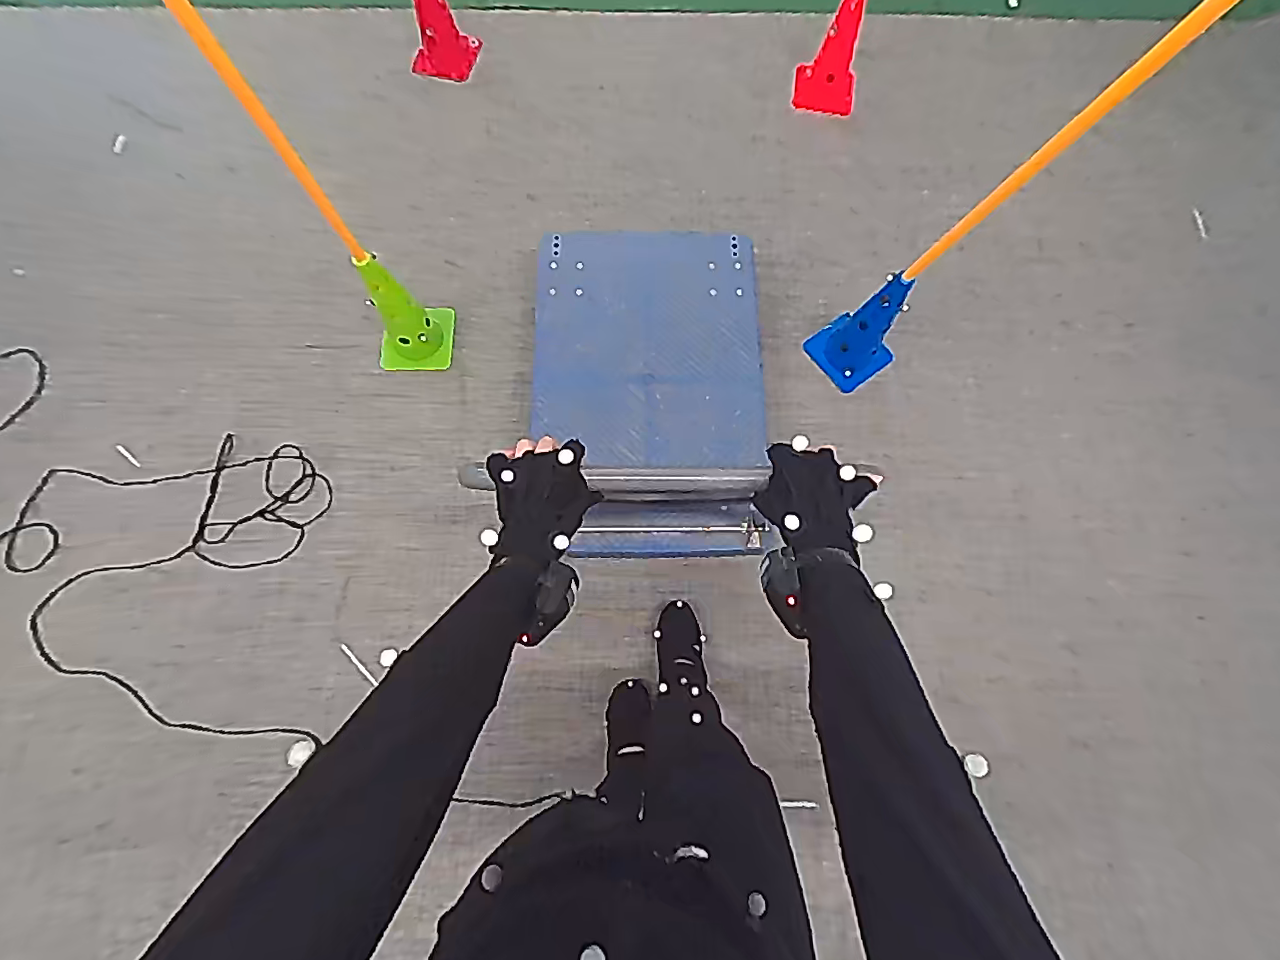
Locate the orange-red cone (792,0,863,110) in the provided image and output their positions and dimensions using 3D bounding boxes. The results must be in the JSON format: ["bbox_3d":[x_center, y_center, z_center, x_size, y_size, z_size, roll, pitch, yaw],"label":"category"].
[{"bbox_3d":[0.617,-1.371,1.648,0.198,0.360,0.199,11,76,3],"label":"orange-red cone"}]
